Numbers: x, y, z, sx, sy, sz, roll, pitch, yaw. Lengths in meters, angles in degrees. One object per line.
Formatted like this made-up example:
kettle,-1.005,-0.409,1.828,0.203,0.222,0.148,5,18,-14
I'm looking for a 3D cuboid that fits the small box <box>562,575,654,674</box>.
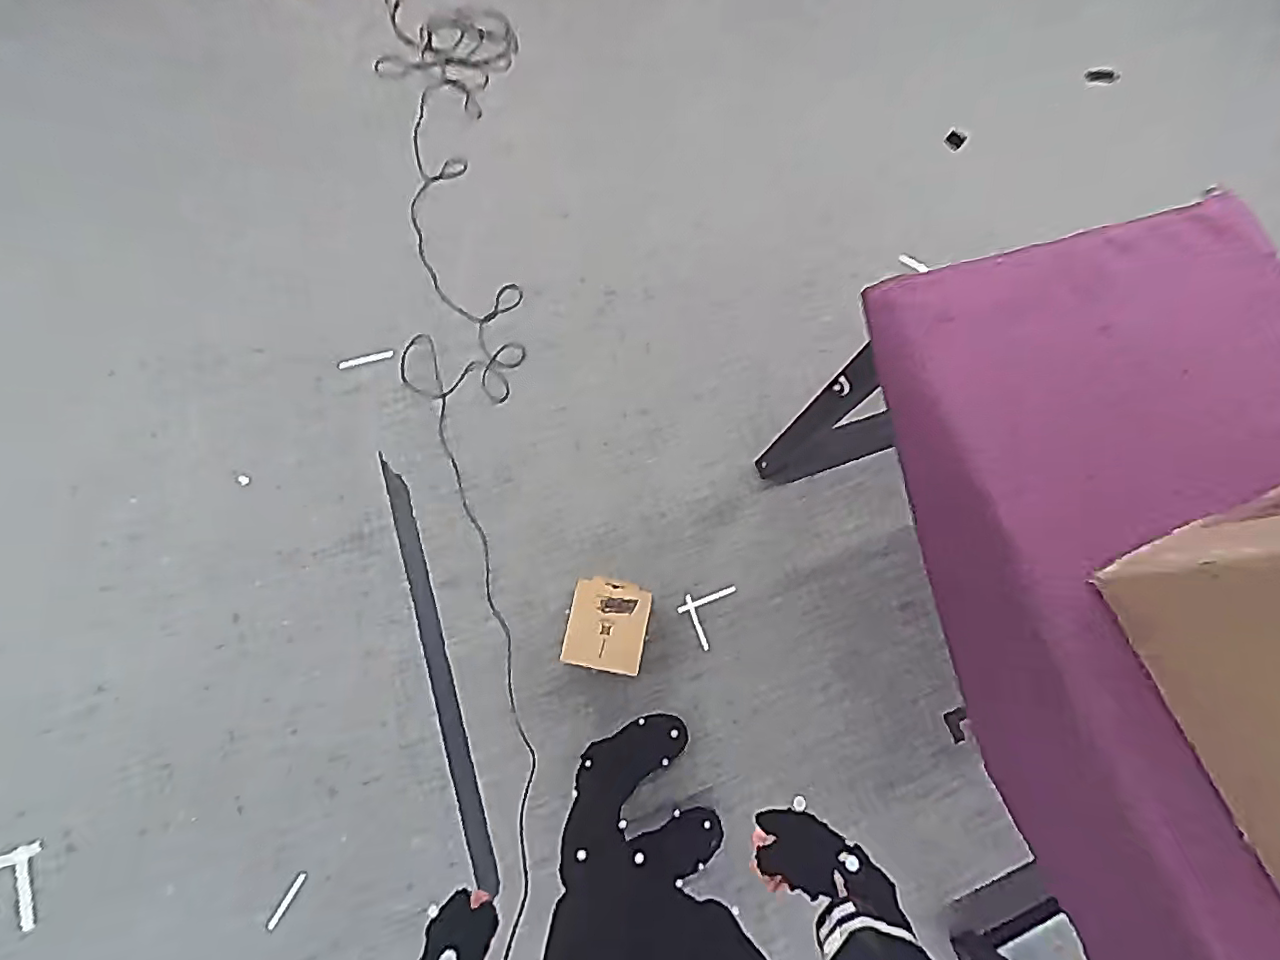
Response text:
small box,-0.072,0.320,1.205,0.168,0.176,0.179,12,75,-1
